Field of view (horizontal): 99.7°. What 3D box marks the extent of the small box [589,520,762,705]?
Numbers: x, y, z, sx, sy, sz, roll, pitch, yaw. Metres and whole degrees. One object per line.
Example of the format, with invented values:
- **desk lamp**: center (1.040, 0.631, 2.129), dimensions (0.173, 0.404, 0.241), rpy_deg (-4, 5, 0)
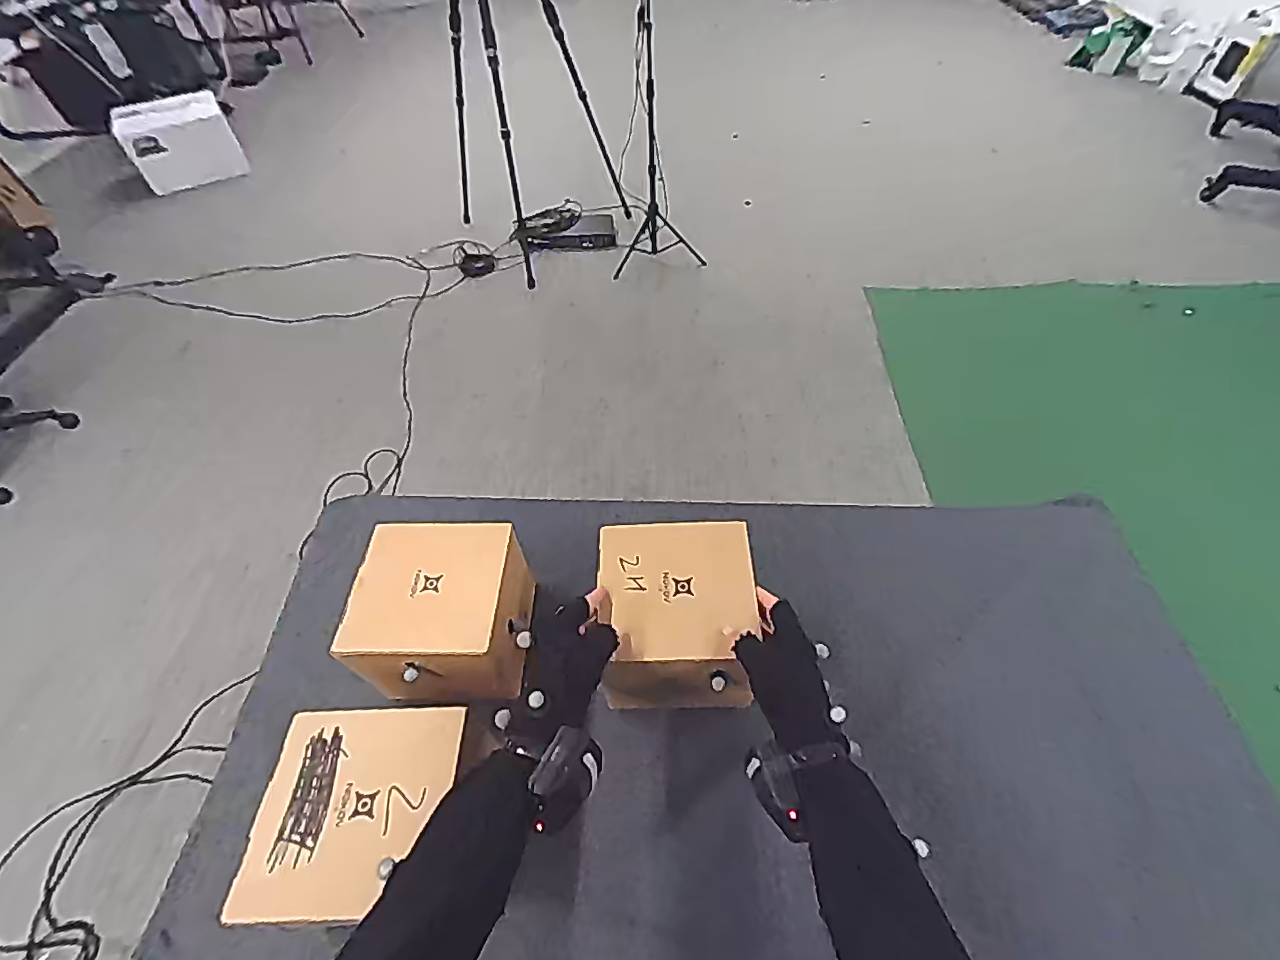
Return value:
- **small box**: center (0.041, 0.163, 0.653), dimensions (0.179, 0.176, 0.168), rpy_deg (-2, 51, 3)
